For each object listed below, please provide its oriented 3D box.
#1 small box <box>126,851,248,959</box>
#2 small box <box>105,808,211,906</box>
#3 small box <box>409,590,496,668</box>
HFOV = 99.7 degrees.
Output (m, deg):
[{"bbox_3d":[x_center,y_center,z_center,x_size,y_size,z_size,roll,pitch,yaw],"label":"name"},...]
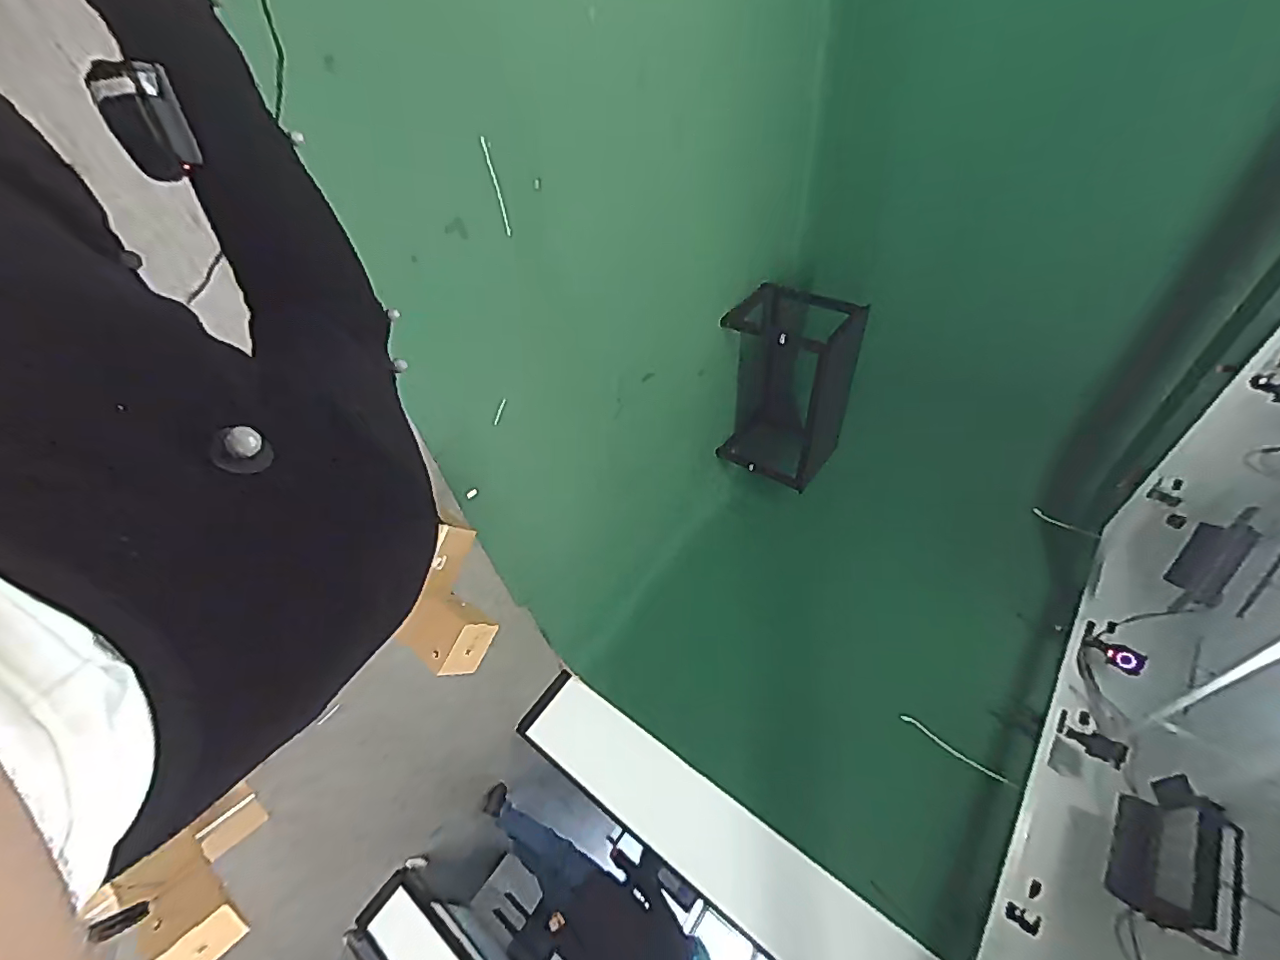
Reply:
[{"bbox_3d":[-1.140,1.085,1.361,0.168,0.176,0.179,-32,139,-42],"label":"small box"},{"bbox_3d":[-1.269,1.027,1.442,0.168,0.176,0.179,-31,137,-44],"label":"small box"},{"bbox_3d":[-0.603,0.475,1.721,0.179,0.176,0.168,-61,152,-3],"label":"small box"}]
